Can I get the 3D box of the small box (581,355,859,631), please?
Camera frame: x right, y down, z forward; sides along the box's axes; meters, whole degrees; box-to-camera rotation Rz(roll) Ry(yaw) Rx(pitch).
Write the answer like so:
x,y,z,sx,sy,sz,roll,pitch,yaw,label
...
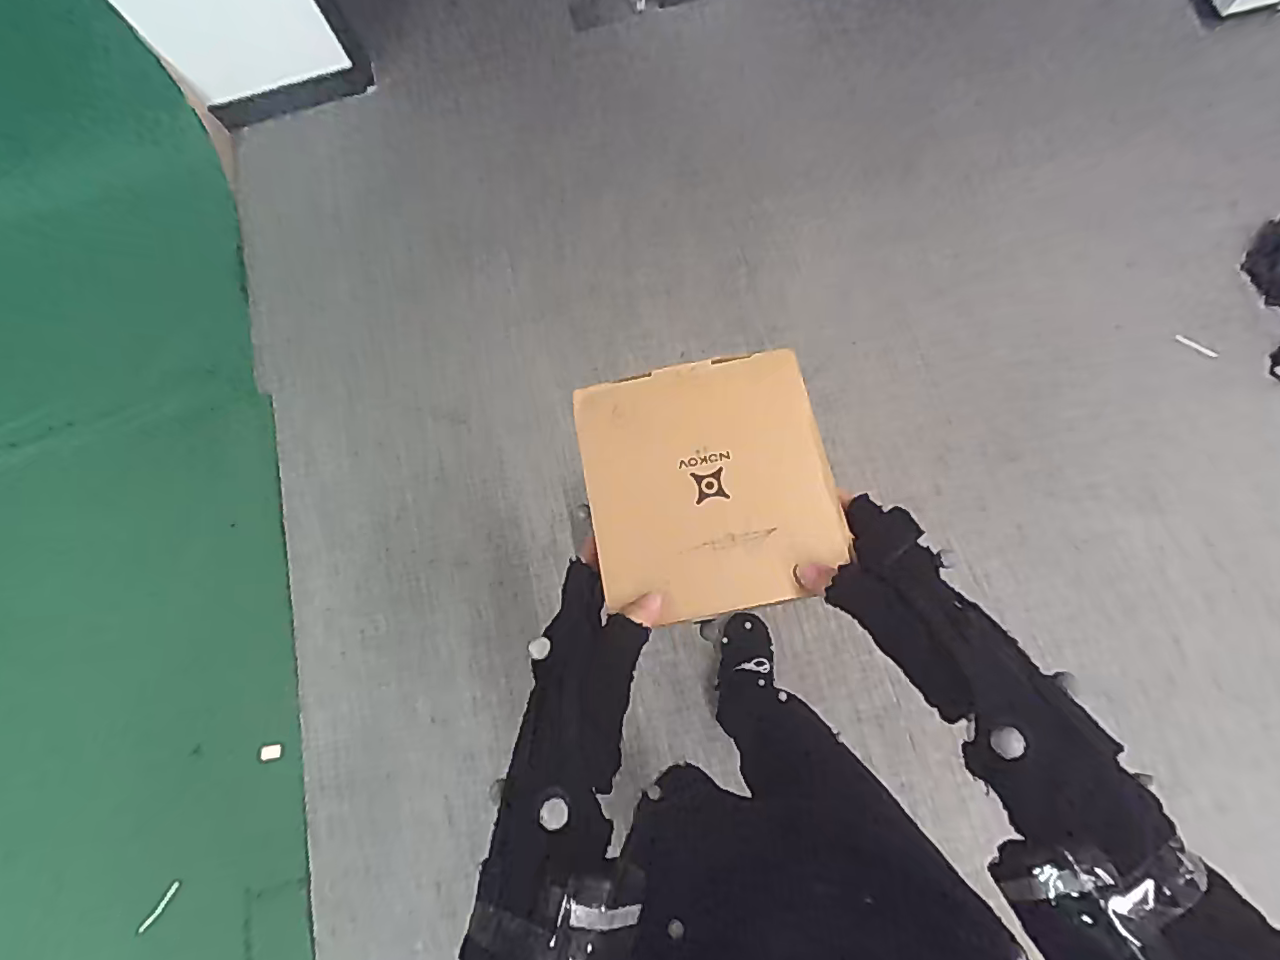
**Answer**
x,y,z,sx,sy,sz,roll,pitch,yaw,label
0.053,0.024,0.456,0.168,0.176,0.179,-12,74,0,small box
